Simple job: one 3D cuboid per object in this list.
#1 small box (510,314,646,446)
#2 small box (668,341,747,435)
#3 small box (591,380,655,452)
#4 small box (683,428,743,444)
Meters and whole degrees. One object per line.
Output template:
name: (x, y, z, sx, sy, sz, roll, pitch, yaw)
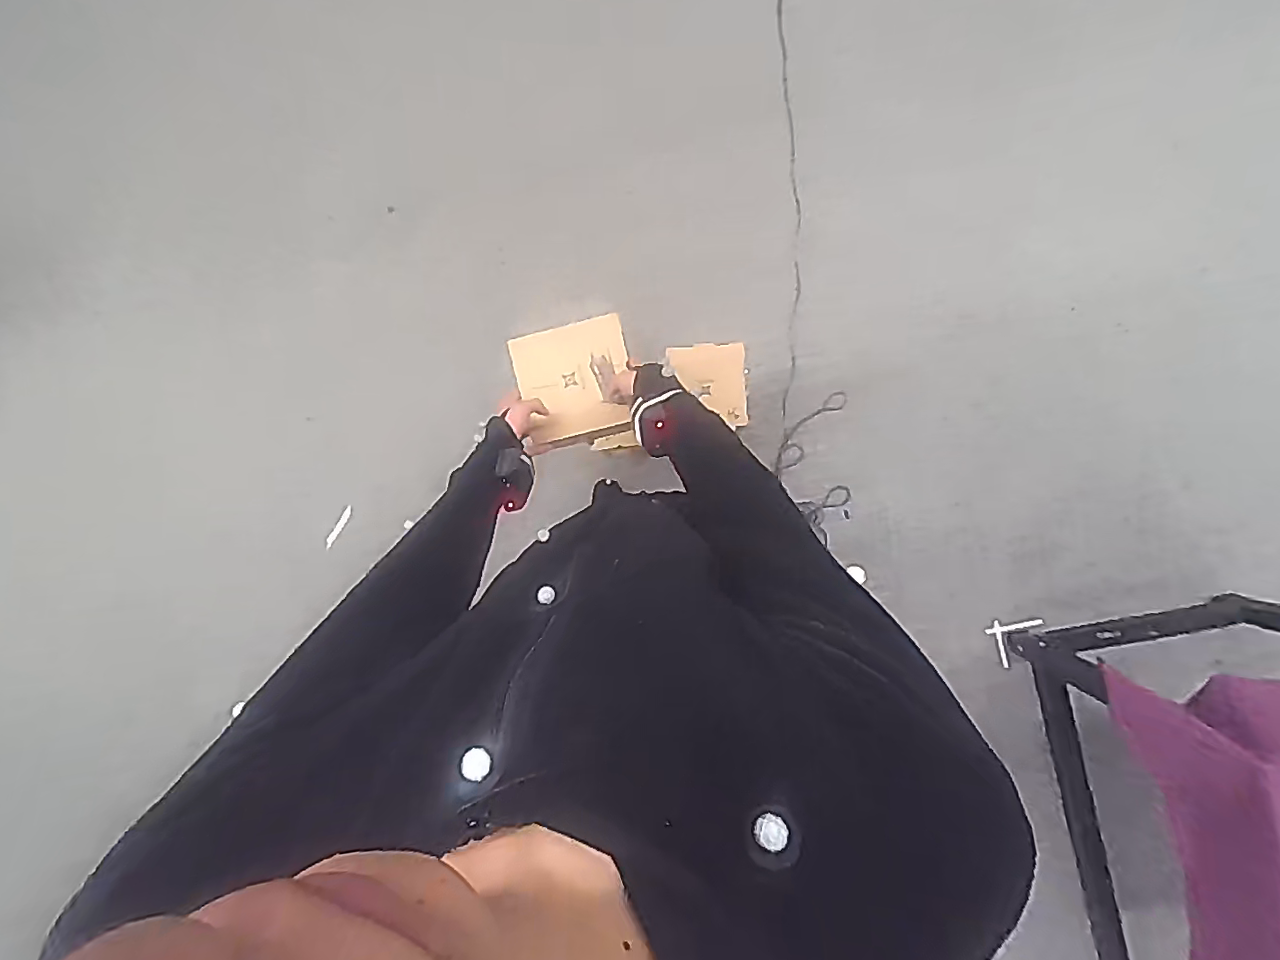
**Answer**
small box: (-0.092, -0.155, 0.889, 0.179, 0.176, 0.168, -14, 91, 3)
small box: (0.149, -0.199, 1.208, 0.168, 0.176, 0.179, -2, 89, 7)
small box: (-0.053, -0.180, 1.560, 0.168, 0.176, 0.179, -6, 90, 8)
small box: (0.191, -0.205, 1.532, 0.168, 0.176, 0.179, -11, 89, 8)
